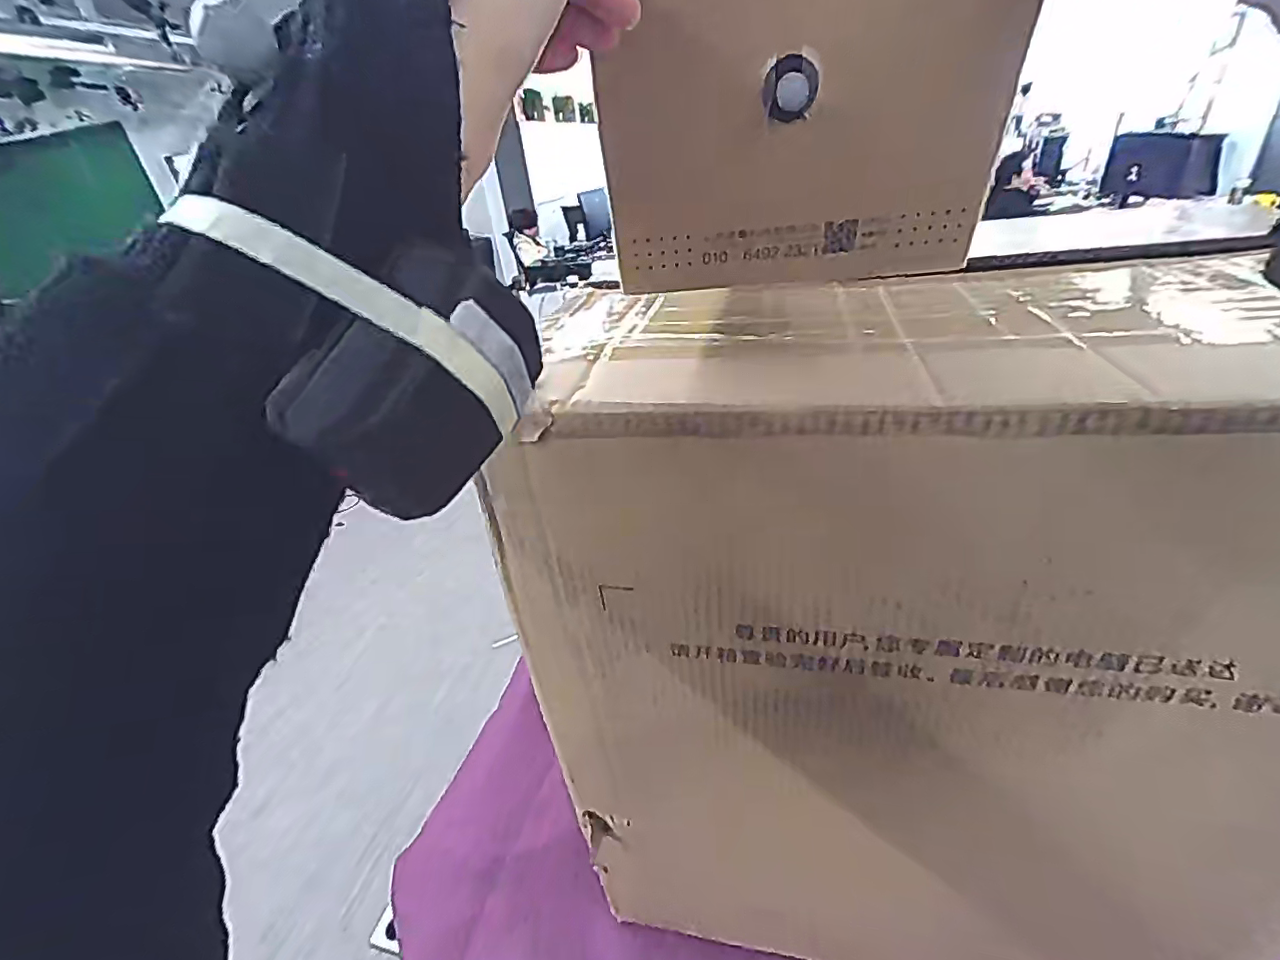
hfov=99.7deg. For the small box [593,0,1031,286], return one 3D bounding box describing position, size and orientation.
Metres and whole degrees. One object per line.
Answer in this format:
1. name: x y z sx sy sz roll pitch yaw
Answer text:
1. small box: 0.072 -0.209 0.275 0.168 0.176 0.179 -2 42 6
